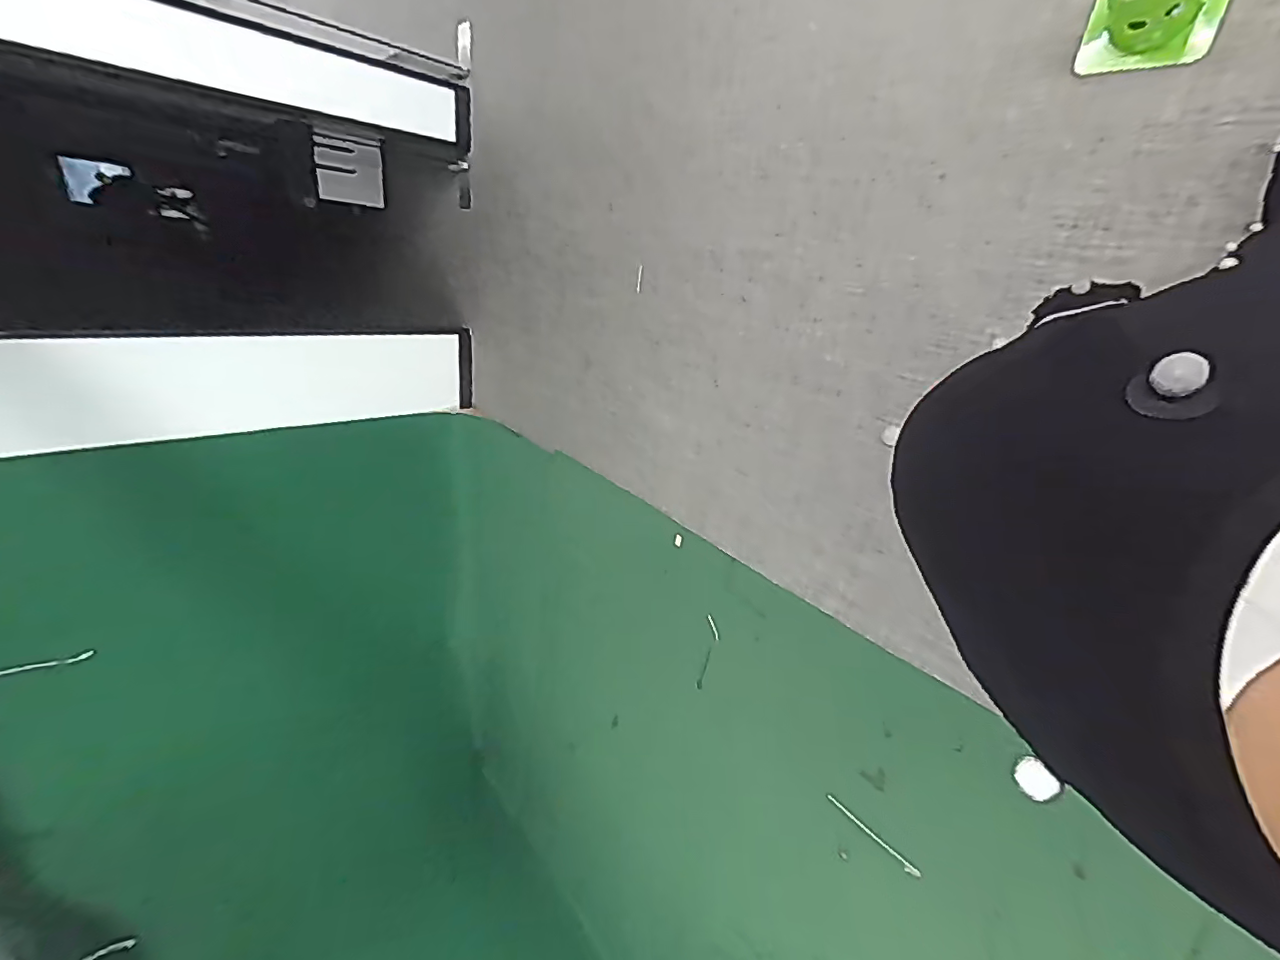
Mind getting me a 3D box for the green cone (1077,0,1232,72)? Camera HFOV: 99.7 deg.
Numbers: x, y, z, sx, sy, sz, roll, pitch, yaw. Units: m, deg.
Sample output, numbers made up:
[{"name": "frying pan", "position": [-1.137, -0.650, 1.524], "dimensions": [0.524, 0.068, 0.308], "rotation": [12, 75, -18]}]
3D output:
[{"name": "green cone", "position": [0.823, -0.838, 0.871], "dimensions": [0.202, 0.368, 0.200], "rotation": [27, 120, 41]}]
